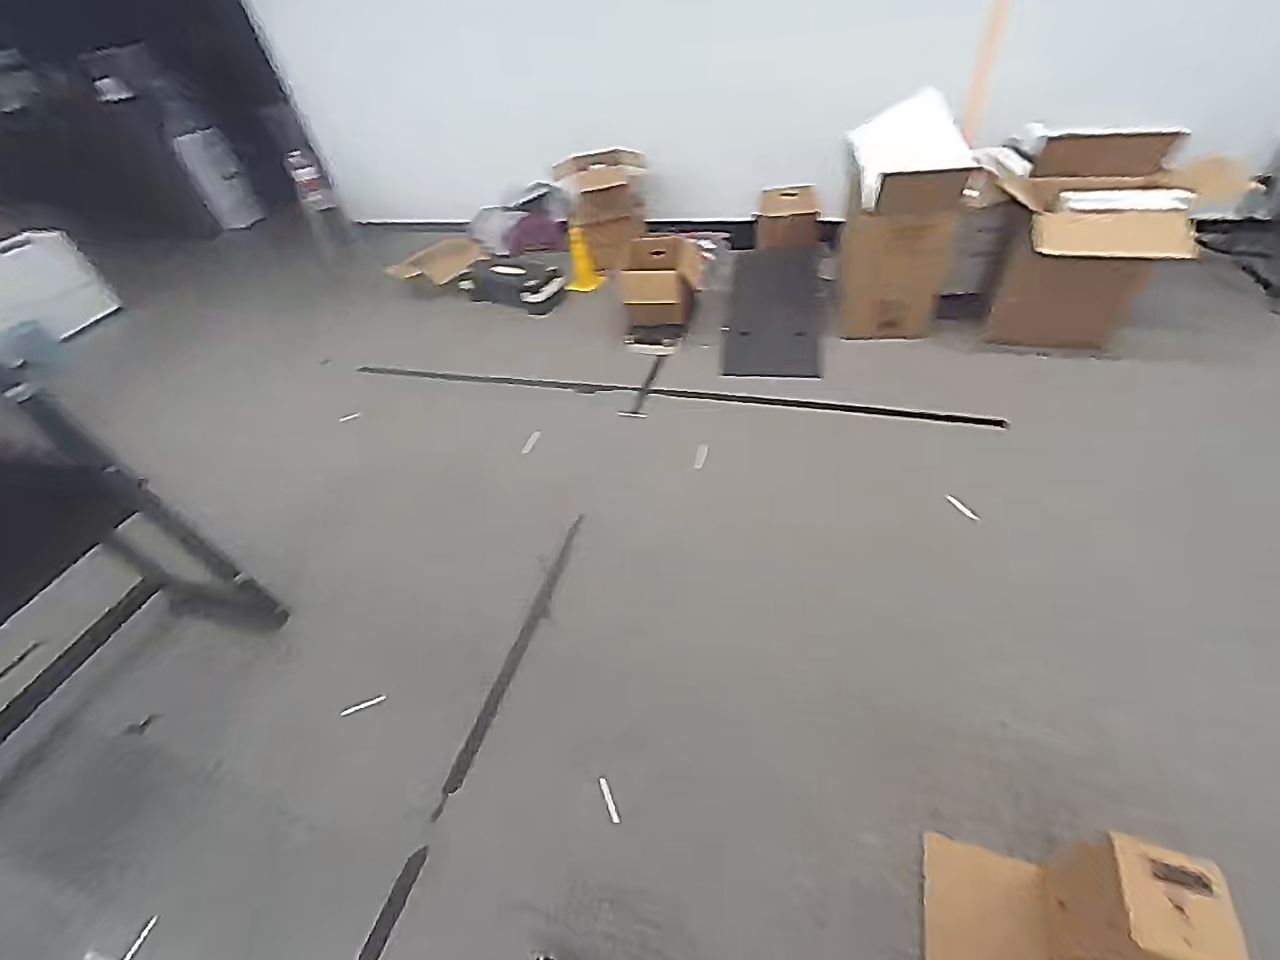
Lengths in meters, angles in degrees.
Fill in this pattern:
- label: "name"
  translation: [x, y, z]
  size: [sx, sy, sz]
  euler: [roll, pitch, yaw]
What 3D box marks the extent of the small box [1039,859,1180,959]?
- label: "small box"
  translation: [0.963, 0.931, 1.121]
  size: [0.168, 0.176, 0.179]
  euler: [10, 47, 17]
